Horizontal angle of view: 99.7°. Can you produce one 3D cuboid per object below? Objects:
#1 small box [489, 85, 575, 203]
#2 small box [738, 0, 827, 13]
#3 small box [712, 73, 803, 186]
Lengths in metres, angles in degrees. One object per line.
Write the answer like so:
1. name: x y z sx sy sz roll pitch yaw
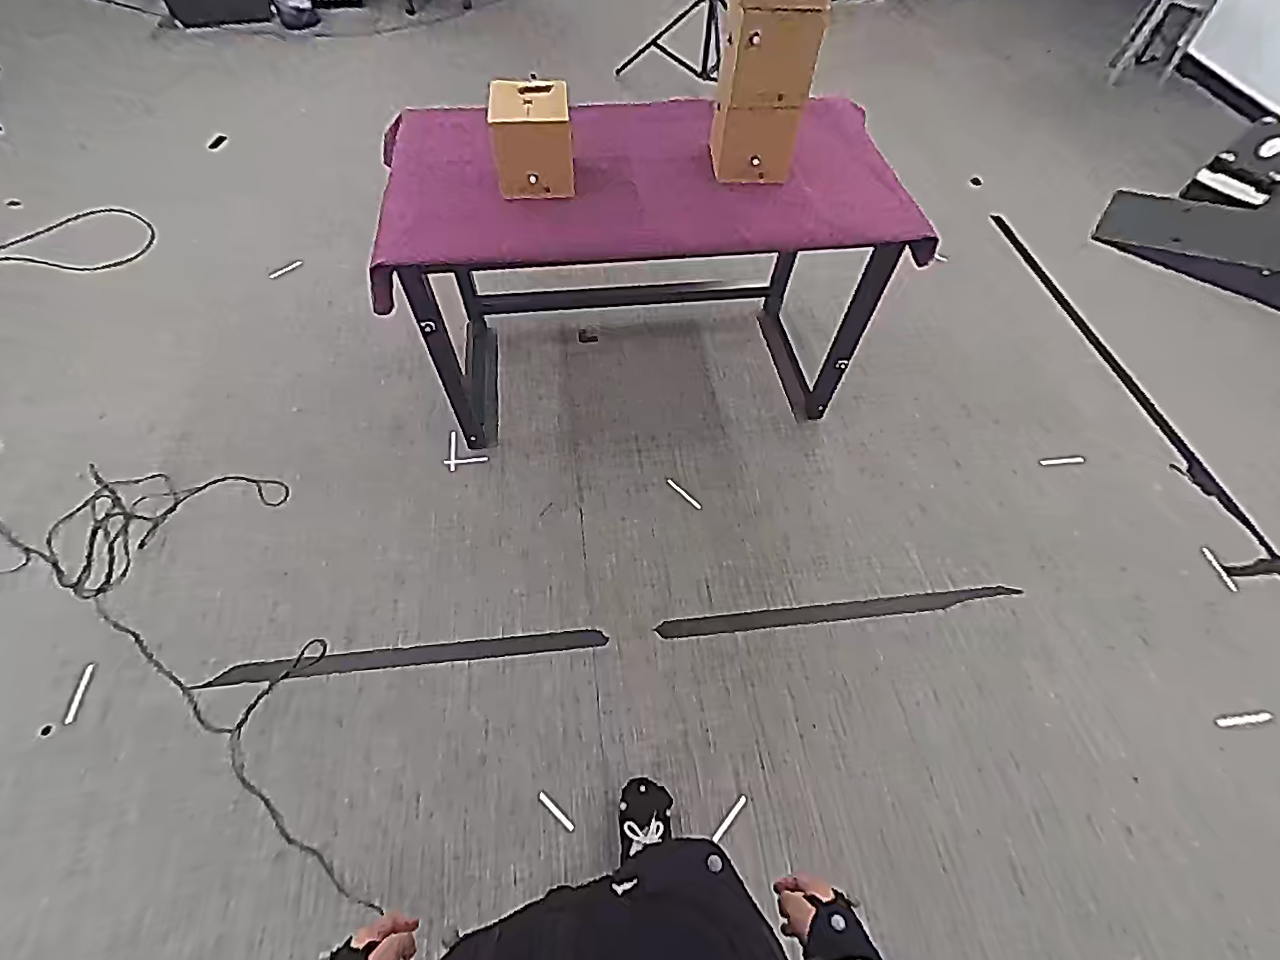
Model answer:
1. small box: -0.235 -0.749 1.209 0.168 0.176 0.179 -4 59 -4
2. small box: 0.269 -0.985 0.985 0.168 0.176 0.179 1 57 -2
3. small box: 0.265 -0.818 1.266 0.168 0.176 0.179 -1 58 -1
